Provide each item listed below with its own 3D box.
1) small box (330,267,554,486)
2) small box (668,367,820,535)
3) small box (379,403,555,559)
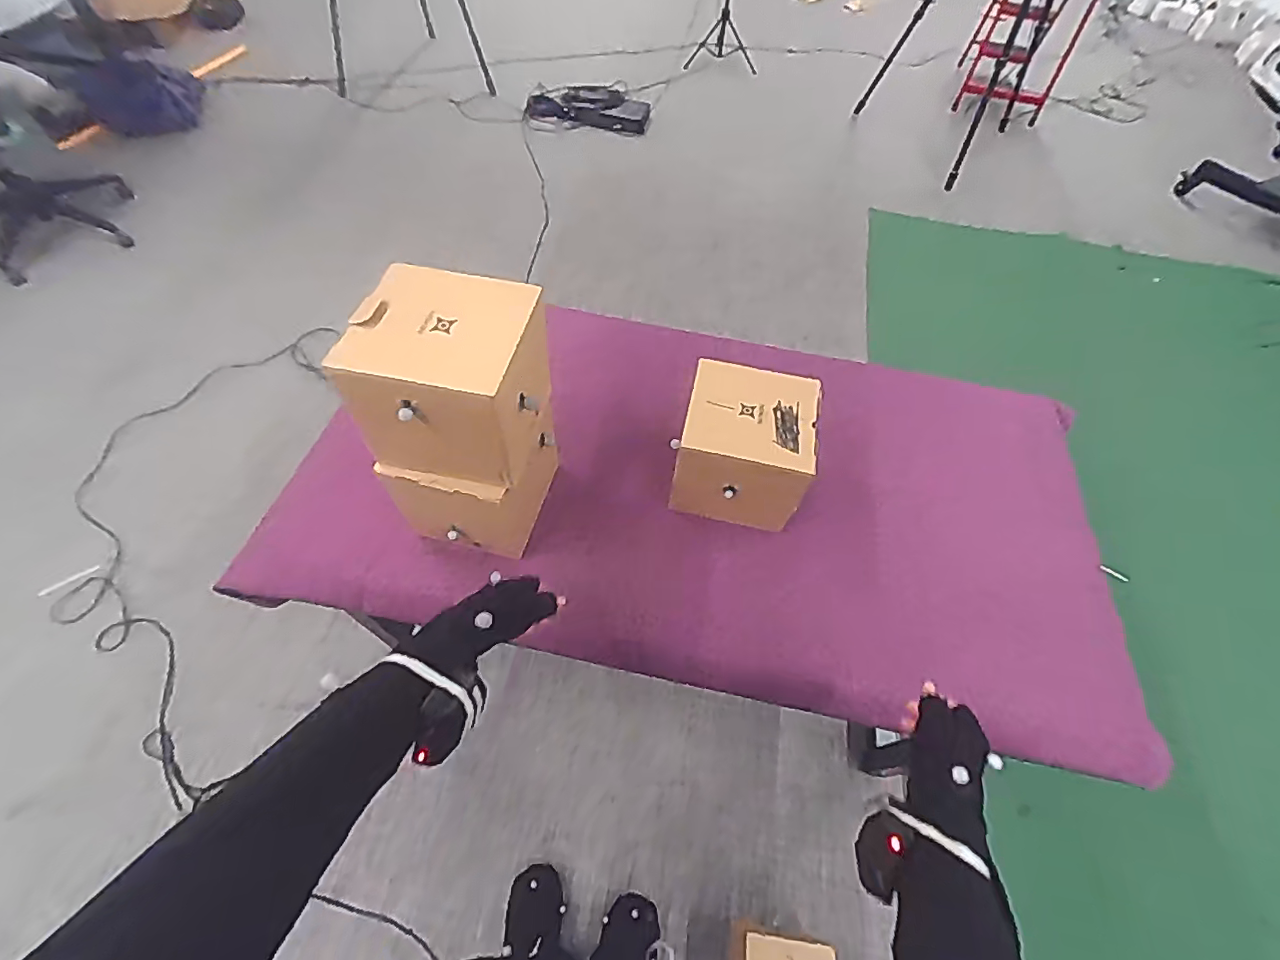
[{"bbox_3d":[-0.206,-0.111,0.627,0.179,0.176,0.168,11,58,3],"label":"small box"},{"bbox_3d":[0.148,-0.036,0.802,0.179,0.176,0.168,13,58,5],"label":"small box"},{"bbox_3d":[-0.224,-0.016,0.758,0.168,0.176,0.179,15,58,5],"label":"small box"}]
